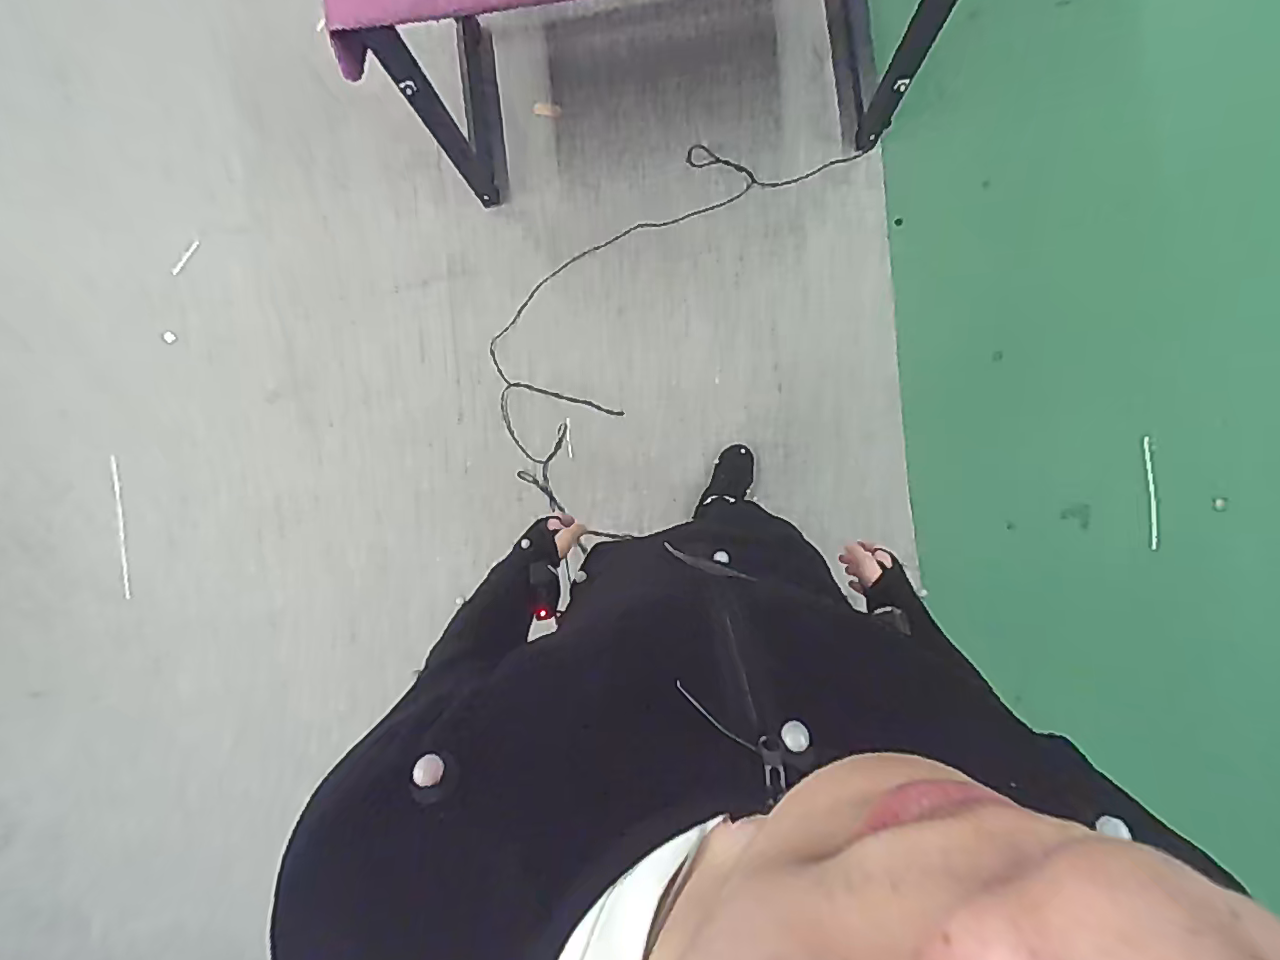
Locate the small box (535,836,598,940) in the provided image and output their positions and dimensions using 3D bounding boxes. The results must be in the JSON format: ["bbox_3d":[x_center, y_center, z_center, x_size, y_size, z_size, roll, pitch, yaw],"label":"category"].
[{"bbox_3d":[-0.217,1.168,1.562,0.168,0.176,0.179,1,91,5],"label":"small box"}]

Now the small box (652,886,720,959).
[{"bbox_3d":[0.134,1.304,1.533,0.168,0.176,0.179,-12,90,5],"label":"small box"}]
